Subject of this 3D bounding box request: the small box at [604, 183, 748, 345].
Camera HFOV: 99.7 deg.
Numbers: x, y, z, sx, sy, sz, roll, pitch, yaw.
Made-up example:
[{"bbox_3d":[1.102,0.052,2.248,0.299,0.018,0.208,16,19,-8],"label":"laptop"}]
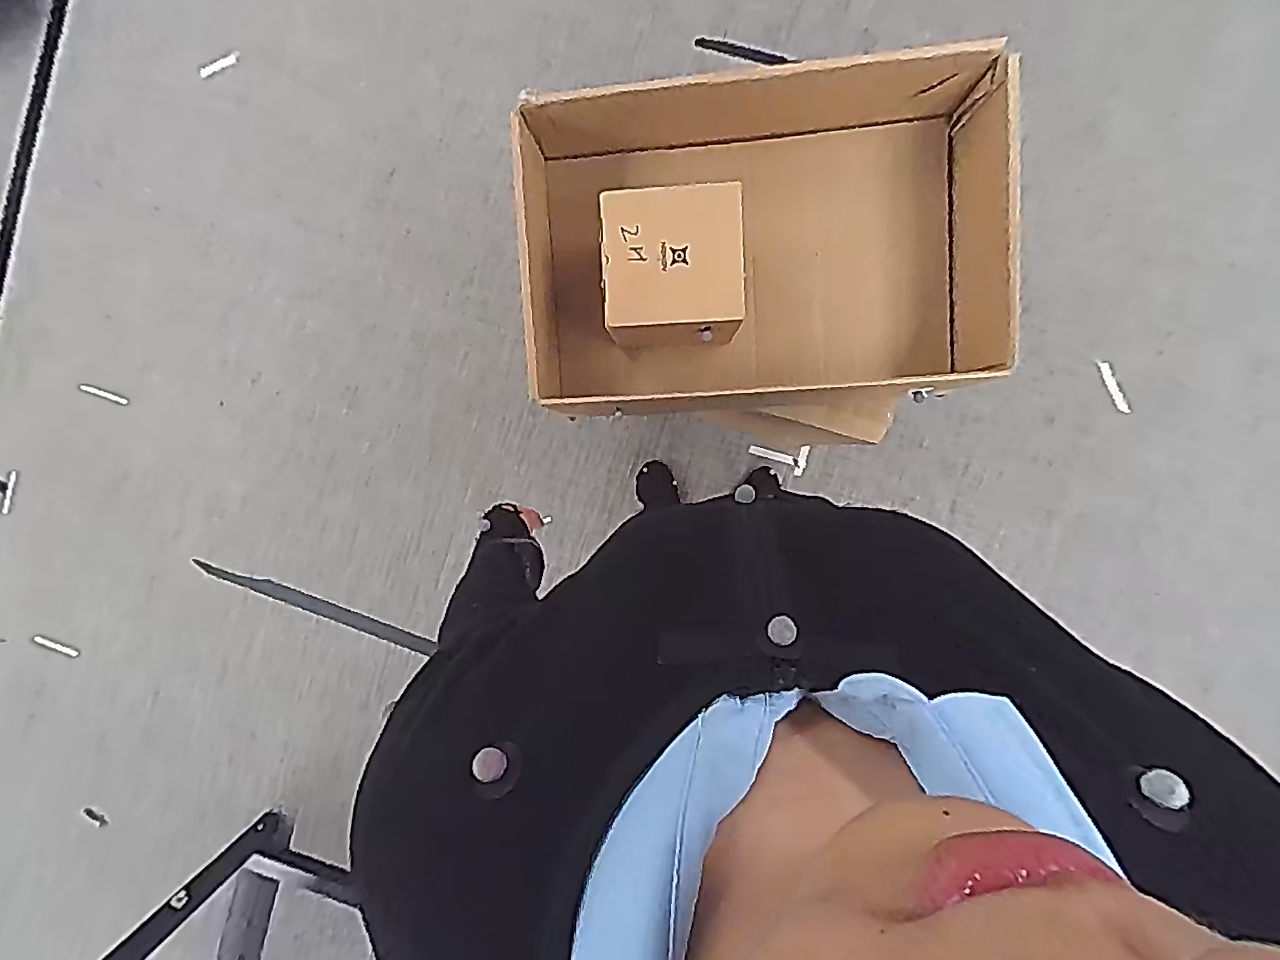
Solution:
[{"bbox_3d":[0.049,-0.283,0.743,0.179,0.176,0.168,-2,94,5],"label":"small box"}]
